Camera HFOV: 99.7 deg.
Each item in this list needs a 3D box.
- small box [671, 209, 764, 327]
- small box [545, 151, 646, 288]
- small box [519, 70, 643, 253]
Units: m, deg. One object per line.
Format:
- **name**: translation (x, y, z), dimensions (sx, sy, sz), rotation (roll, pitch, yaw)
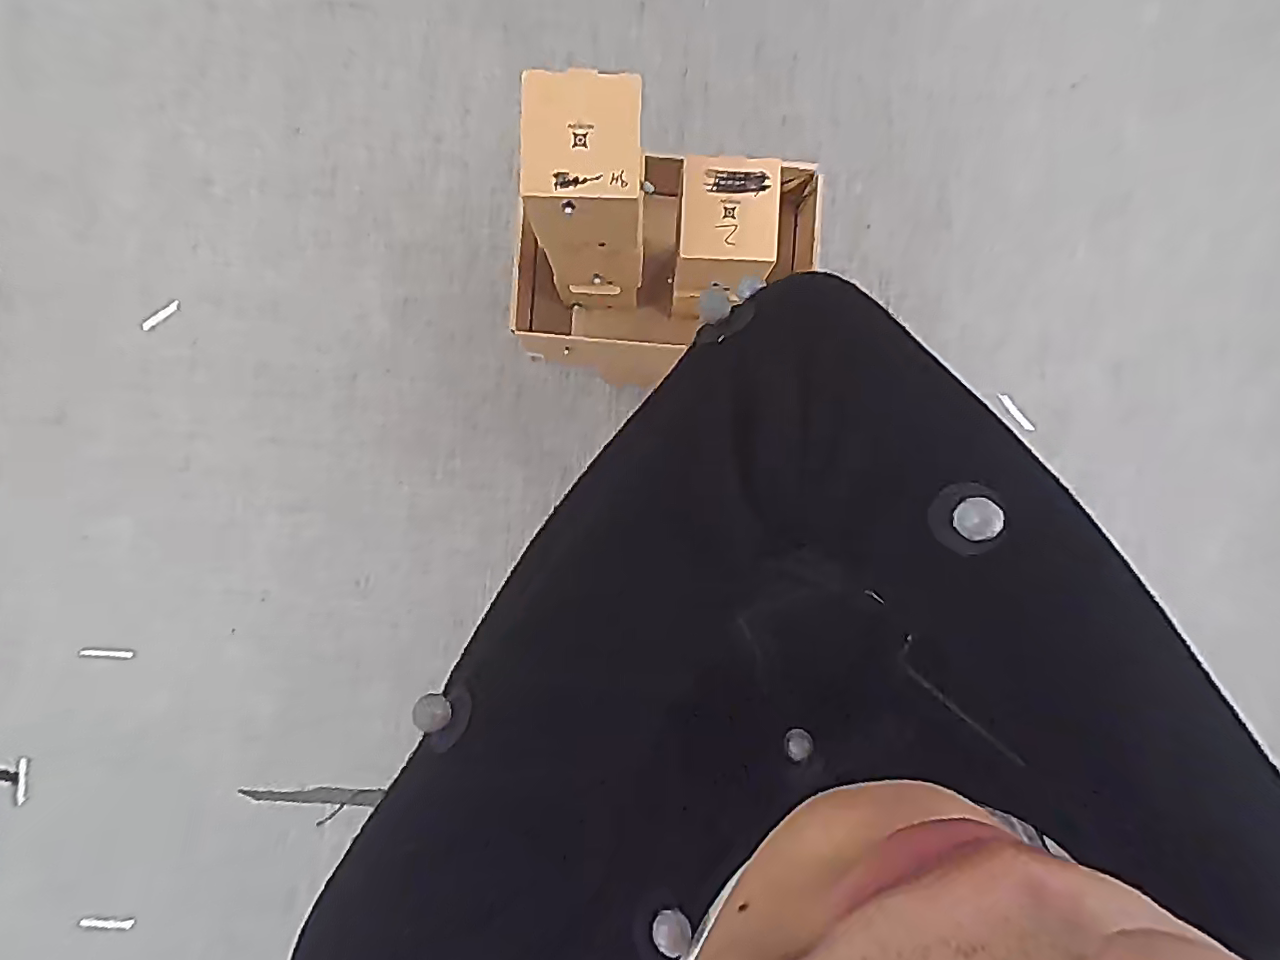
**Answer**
- **small box**: translation (0.157, -0.442, 1.150), dimensions (0.168, 0.176, 0.179), rotation (6, 90, 1)
- **small box**: translation (-0.077, -0.467, 0.981), dimensions (0.168, 0.176, 0.179), rotation (2, 90, -1)
- **small box**: translation (-0.082, -0.469, 0.816), dimensions (0.168, 0.176, 0.179), rotation (1, 89, 0)
